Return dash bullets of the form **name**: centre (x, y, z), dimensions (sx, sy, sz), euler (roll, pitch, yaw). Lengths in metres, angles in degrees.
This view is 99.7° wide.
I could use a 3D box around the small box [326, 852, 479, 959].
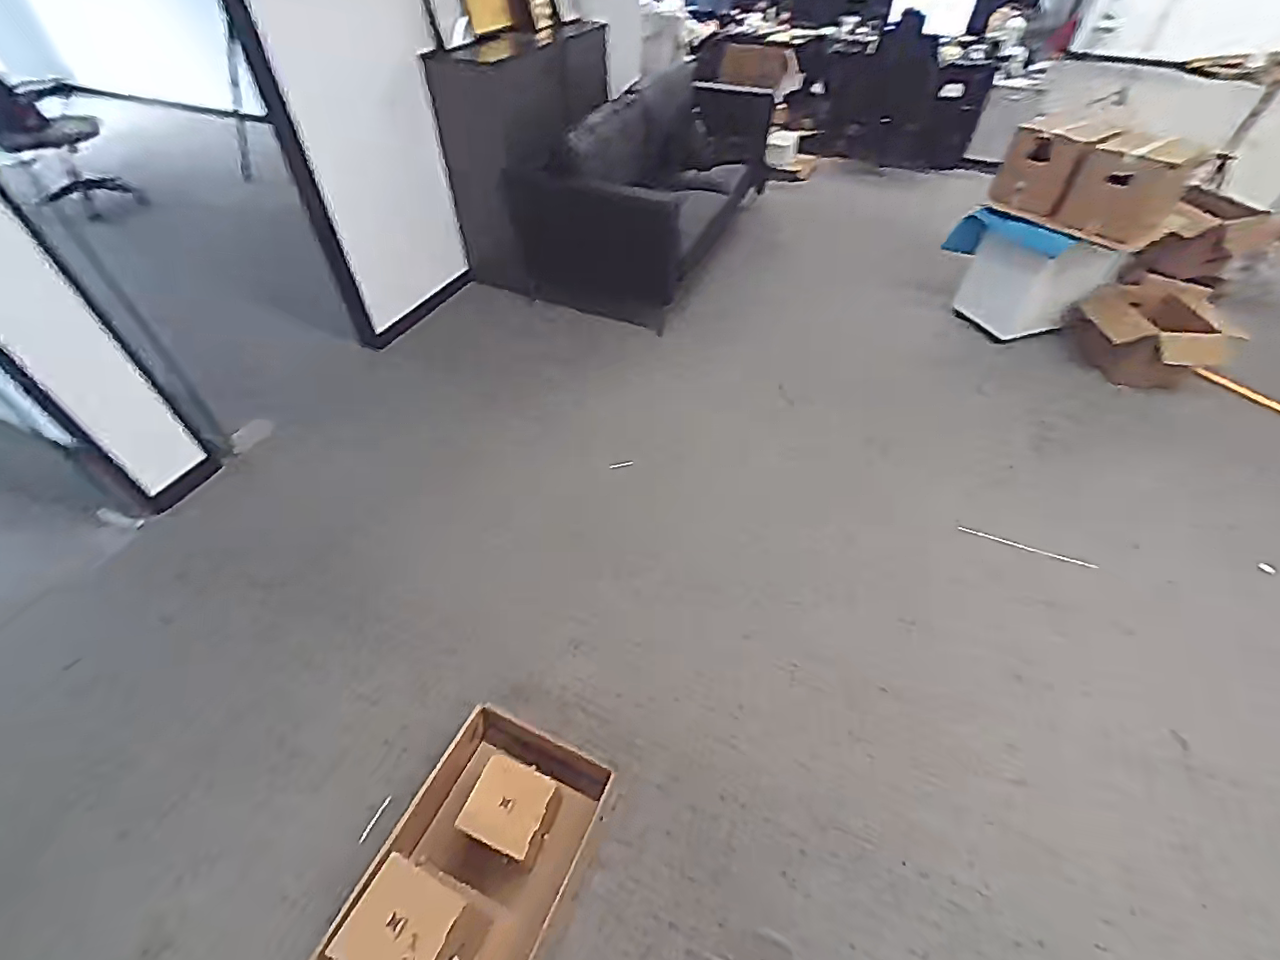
- **small box**: centre (-0.429, 0.841, 1.006), dimensions (0.179, 0.176, 0.168), euler (21, 49, 17)
